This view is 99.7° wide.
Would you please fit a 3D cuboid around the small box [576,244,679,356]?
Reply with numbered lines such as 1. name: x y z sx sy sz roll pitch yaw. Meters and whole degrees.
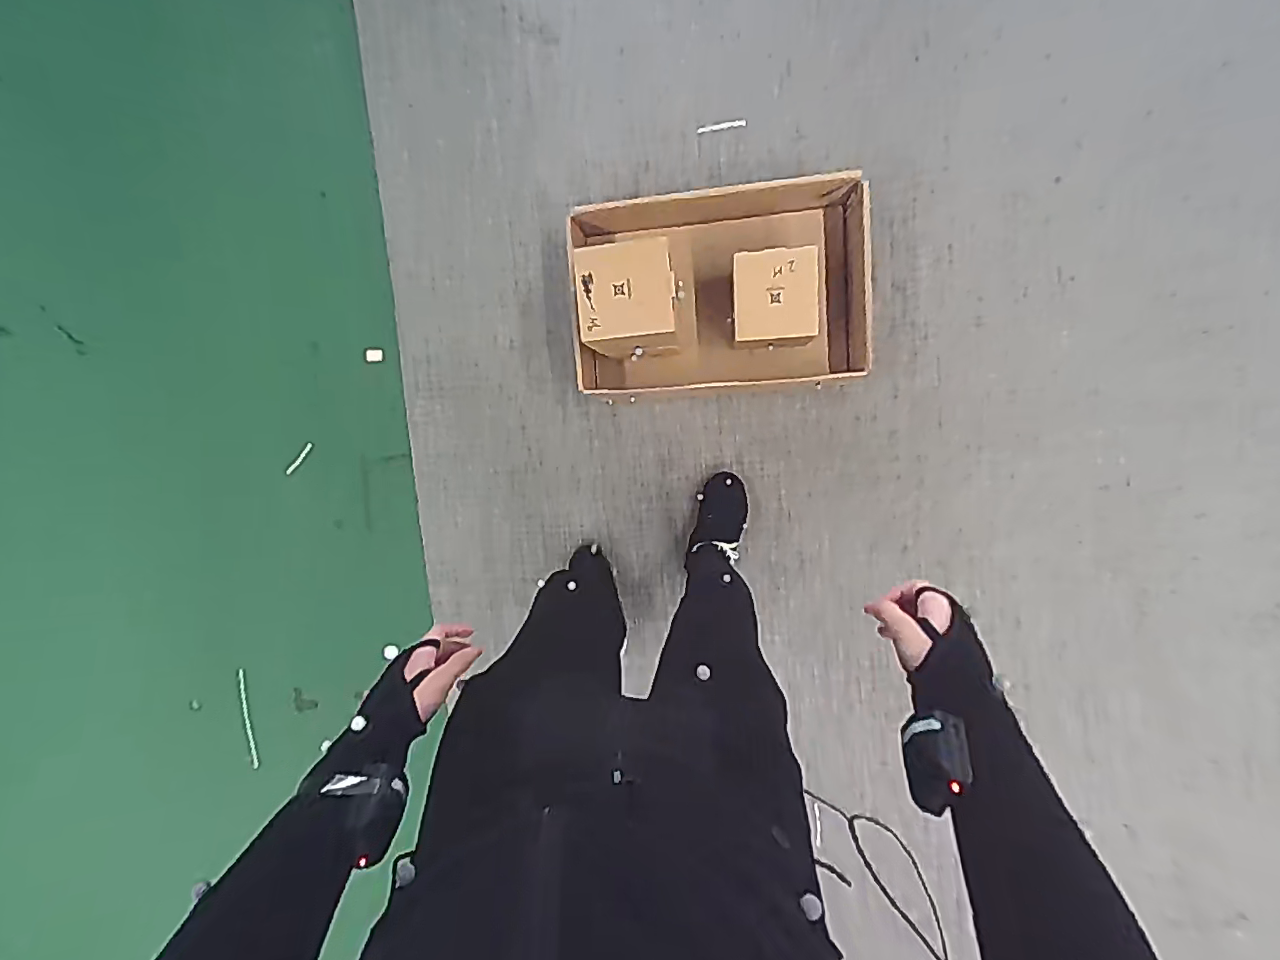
1. small box: -0.015 -0.337 1.041 0.179 0.176 0.168 -3 94 8

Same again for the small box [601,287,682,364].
1. small box: 0.005 -0.355 1.203 0.168 0.176 0.179 -2 94 8

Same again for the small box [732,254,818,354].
1. small box: 0.284 -0.367 1.161 0.168 0.176 0.179 -1 95 9
